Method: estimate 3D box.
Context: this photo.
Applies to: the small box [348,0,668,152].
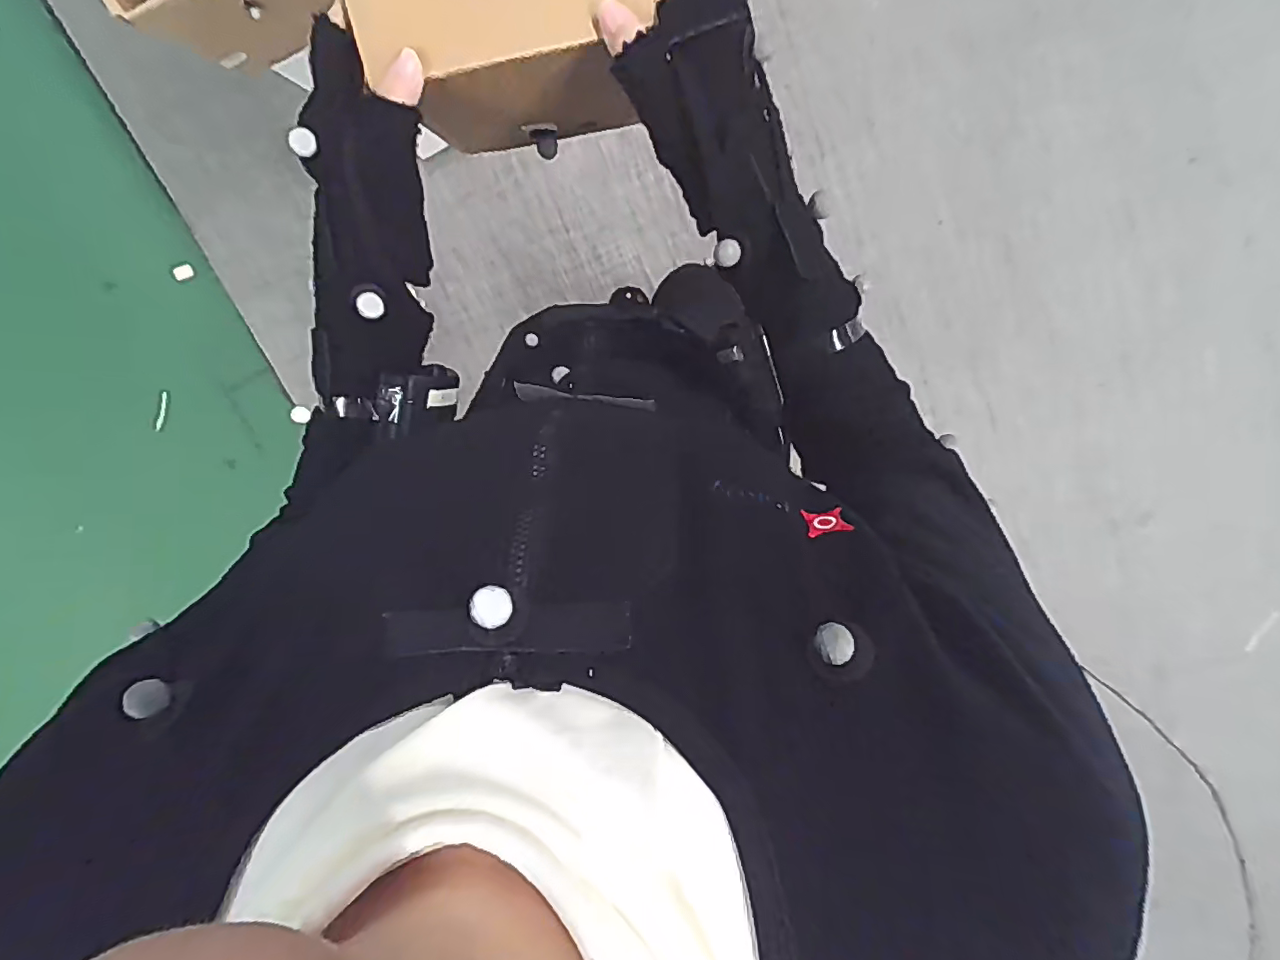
[{"bbox_3d":[-0.077,-0.333,0.336,0.168,0.176,0.179,-8,109,5],"label":"small box"}]
